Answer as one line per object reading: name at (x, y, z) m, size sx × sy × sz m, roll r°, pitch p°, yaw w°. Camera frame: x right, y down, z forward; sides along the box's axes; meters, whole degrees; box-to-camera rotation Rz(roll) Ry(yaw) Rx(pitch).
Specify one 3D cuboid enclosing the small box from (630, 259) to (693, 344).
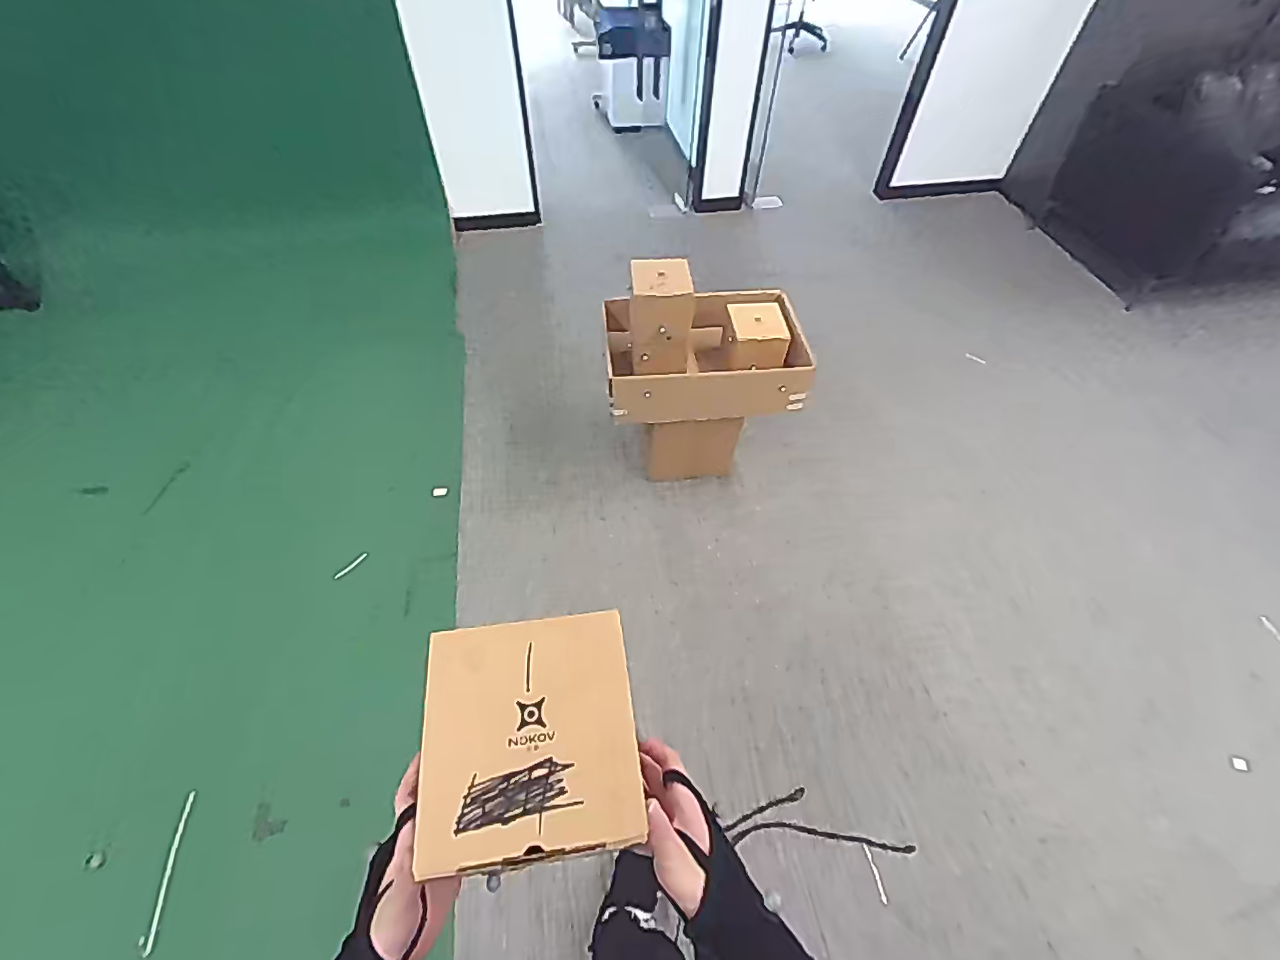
small box at (0.056, -0.515, 1.564) m, size 0.168 × 0.176 × 0.179 m, roll -3°, pitch 53°, yaw -2°

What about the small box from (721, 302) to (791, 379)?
small box at (0.362, -0.444, 1.721) m, size 0.168 × 0.176 × 0.179 m, roll -4°, pitch 54°, yaw -4°

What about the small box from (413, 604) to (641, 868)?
small box at (-0.090, 0.235, 0.492) m, size 0.168 × 0.176 × 0.179 m, roll -5°, pitch 54°, yaw -6°
